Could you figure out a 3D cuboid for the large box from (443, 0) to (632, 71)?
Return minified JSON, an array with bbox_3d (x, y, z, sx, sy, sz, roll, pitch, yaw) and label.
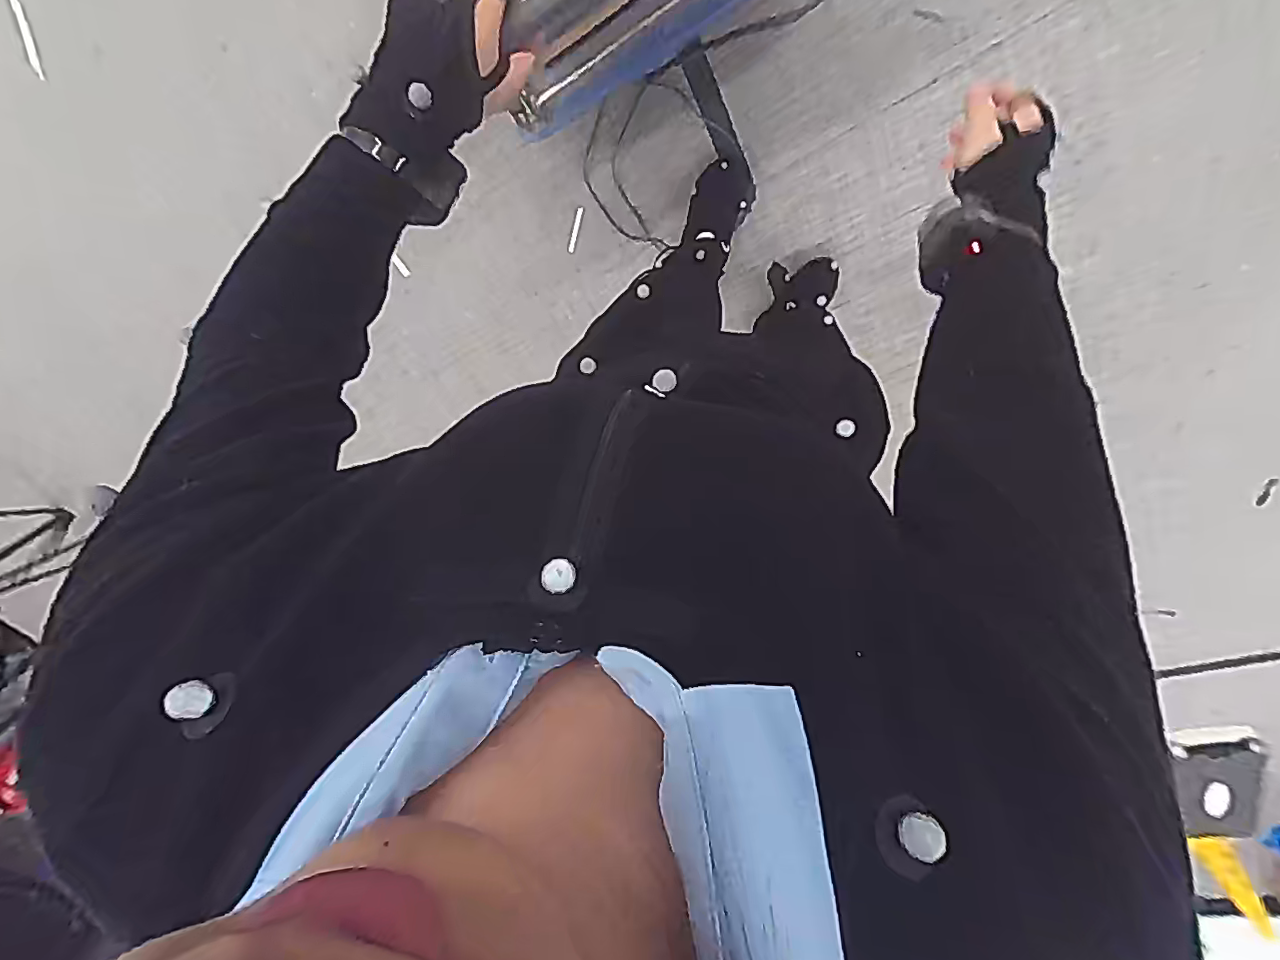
[{"bbox_3d":[-0.105,-0.832,0.716,0.408,0.320,0.320,-21,120,22],"label":"large box"}]
